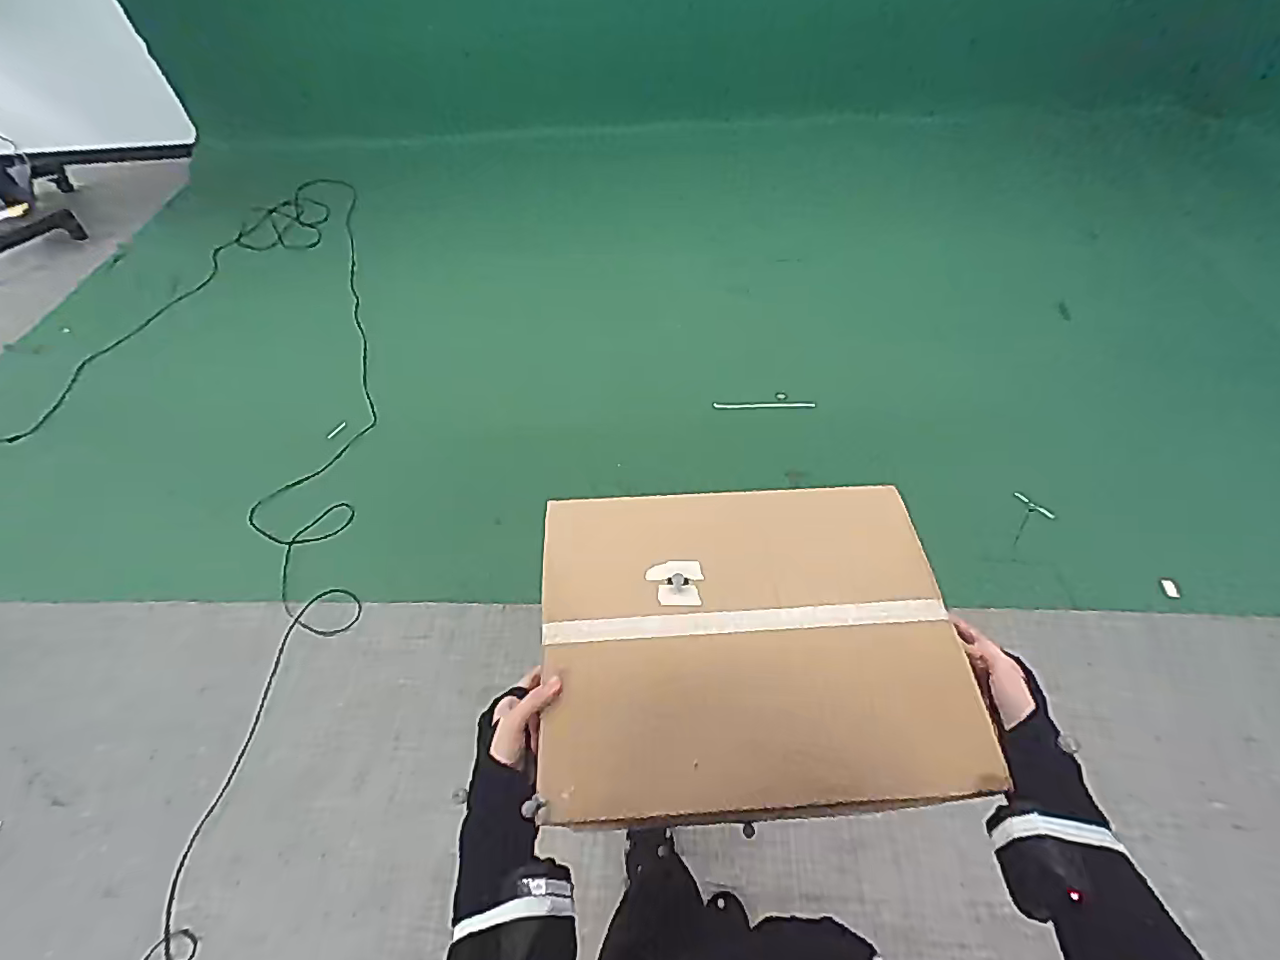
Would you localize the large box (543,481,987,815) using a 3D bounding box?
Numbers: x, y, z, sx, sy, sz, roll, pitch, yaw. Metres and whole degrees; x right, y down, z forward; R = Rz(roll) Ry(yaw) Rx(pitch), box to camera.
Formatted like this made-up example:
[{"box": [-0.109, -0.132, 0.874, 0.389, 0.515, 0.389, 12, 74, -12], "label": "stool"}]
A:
[{"box": [0.107, 0.223, 0.678, 0.408, 0.320, 0.320, -3, 56, -1], "label": "large box"}]
